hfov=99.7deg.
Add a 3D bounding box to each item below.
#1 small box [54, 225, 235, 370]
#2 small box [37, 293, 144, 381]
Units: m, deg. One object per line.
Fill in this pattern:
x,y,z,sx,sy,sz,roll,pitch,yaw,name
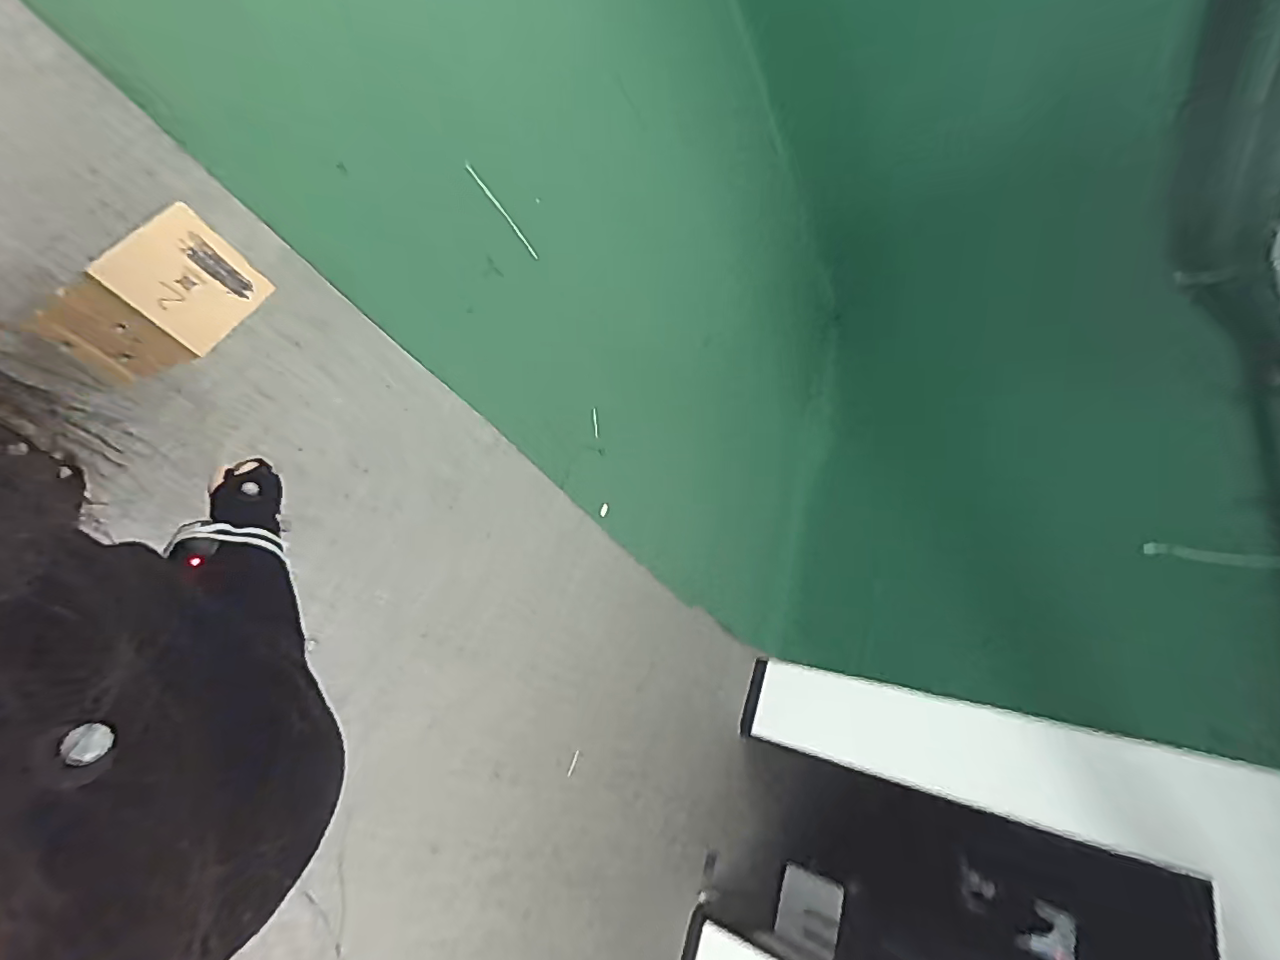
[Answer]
-0.895,-0.319,0.977,0.168,0.176,0.179,50,52,-41,small box
-1.027,-0.315,1.071,0.168,0.176,0.179,53,51,-39,small box
